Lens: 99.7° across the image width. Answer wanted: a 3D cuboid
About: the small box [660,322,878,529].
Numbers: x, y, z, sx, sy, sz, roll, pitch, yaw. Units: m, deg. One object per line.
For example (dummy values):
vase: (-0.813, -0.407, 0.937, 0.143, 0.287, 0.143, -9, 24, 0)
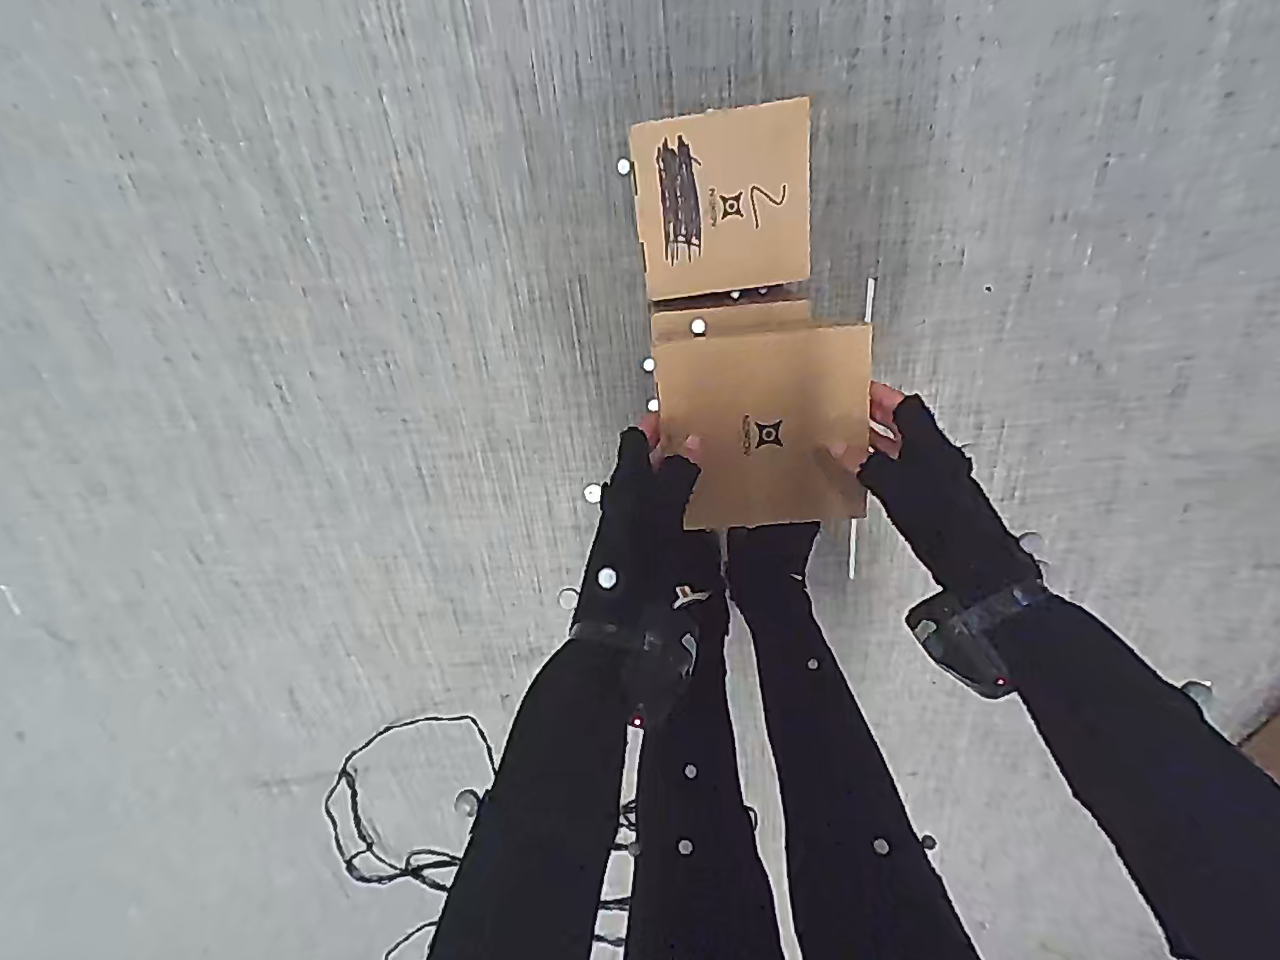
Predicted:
small box: (0.113, -0.062, 0.533, 0.179, 0.176, 0.168, -4, 107, 6)
